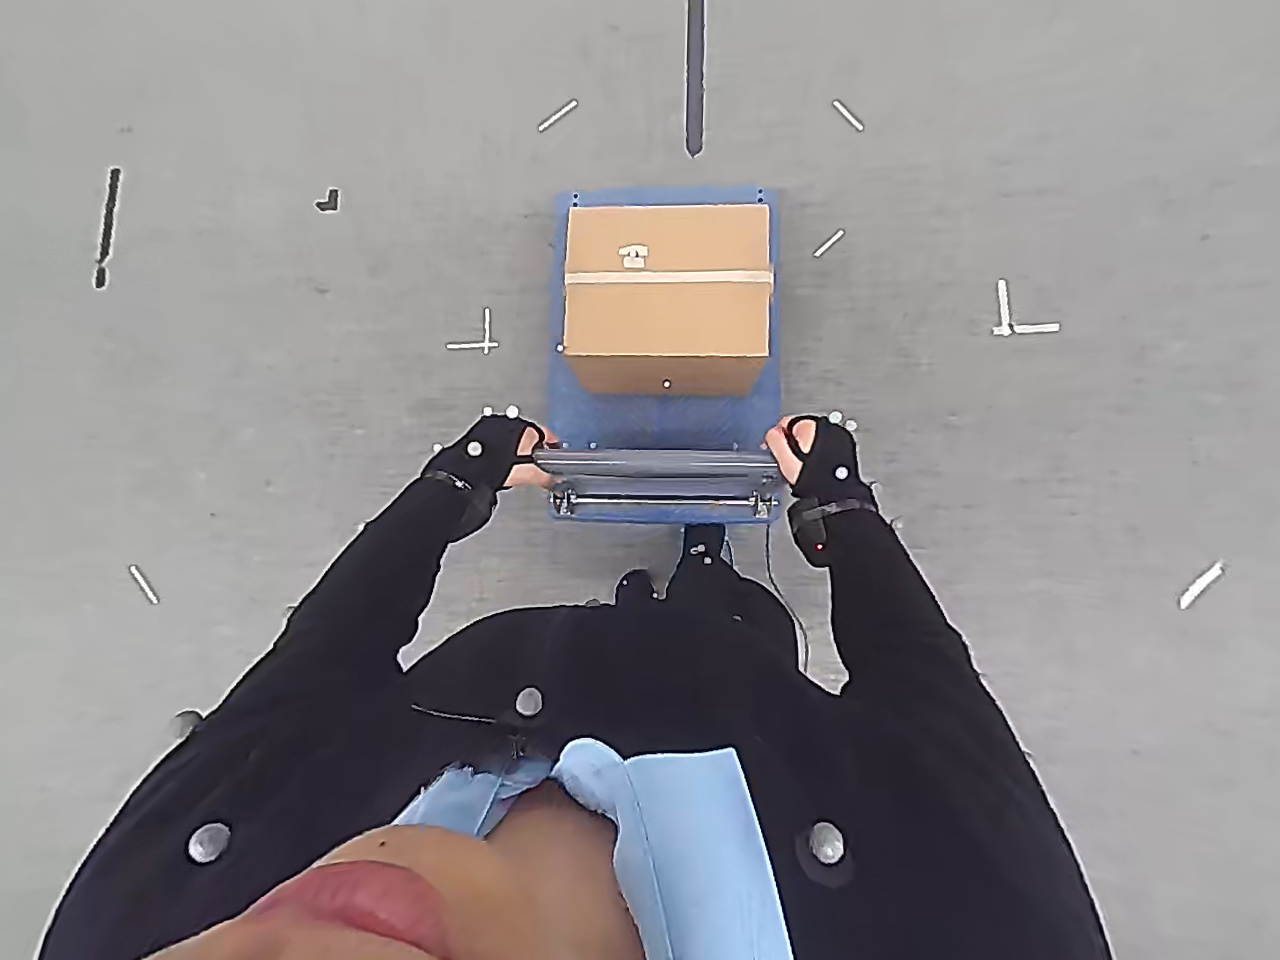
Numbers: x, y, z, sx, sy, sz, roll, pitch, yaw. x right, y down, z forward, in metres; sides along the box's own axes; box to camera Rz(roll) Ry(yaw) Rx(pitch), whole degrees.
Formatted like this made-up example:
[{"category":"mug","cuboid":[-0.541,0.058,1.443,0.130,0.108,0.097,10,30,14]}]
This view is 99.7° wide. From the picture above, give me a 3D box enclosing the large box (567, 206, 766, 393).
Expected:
[{"category":"large box","cuboid":[0.066,-0.387,1.241,0.408,0.320,0.320,1,83,5]}]
